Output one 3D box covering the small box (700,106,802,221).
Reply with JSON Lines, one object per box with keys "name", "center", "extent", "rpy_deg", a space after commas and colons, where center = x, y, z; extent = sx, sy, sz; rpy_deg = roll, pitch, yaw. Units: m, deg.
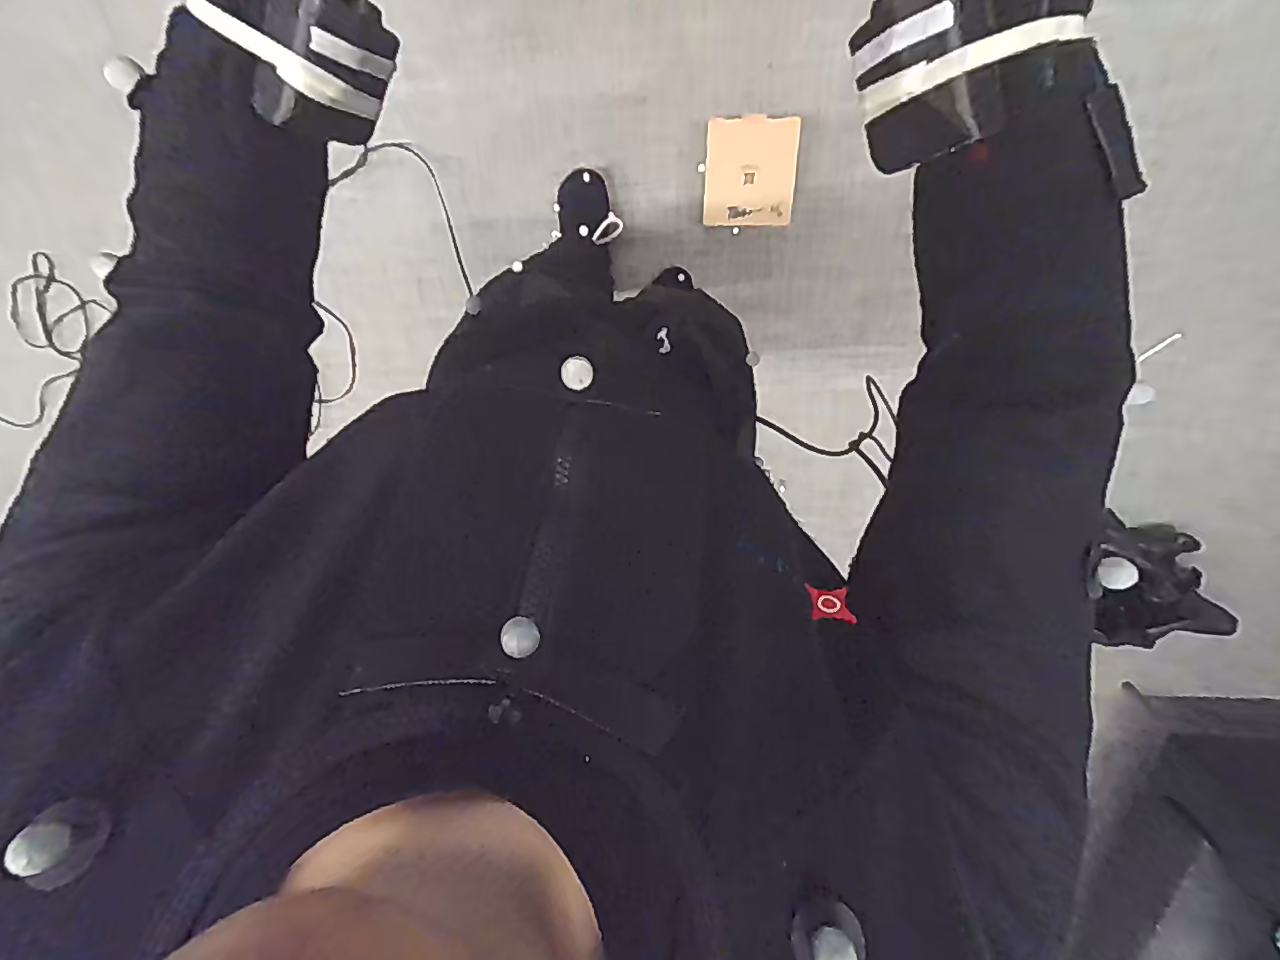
{"name": "small box", "center": [0.205, -0.604, 1.048], "extent": [0.168, 0.176, 0.179], "rpy_deg": [2, 115, 4]}
